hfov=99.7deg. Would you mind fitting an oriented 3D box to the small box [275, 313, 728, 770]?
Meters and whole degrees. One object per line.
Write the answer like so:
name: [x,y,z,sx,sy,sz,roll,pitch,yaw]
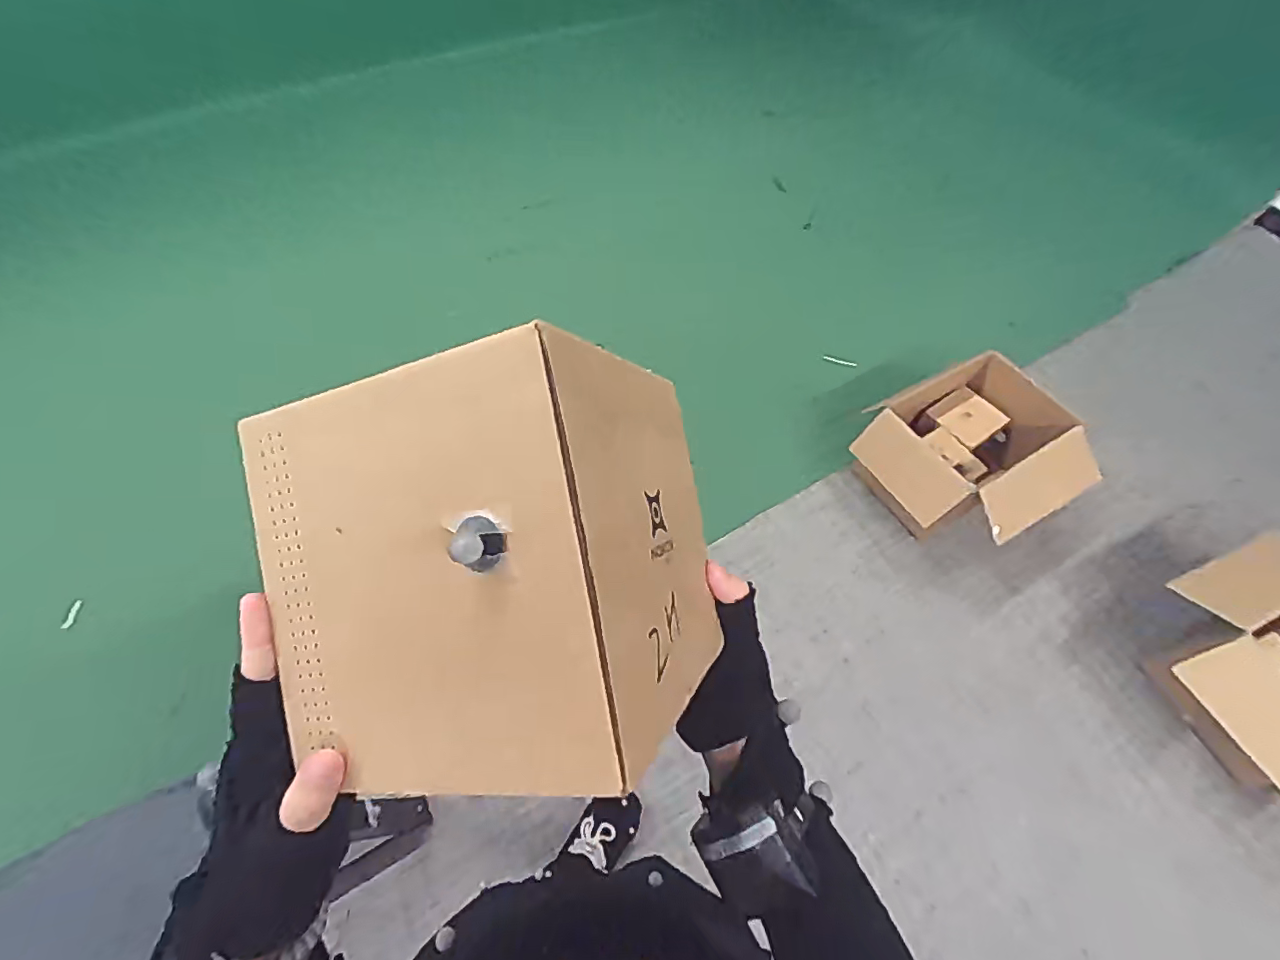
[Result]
small box: [-0.063,0.036,0.297,0.176,0.168,0.179,-11,87,21]
